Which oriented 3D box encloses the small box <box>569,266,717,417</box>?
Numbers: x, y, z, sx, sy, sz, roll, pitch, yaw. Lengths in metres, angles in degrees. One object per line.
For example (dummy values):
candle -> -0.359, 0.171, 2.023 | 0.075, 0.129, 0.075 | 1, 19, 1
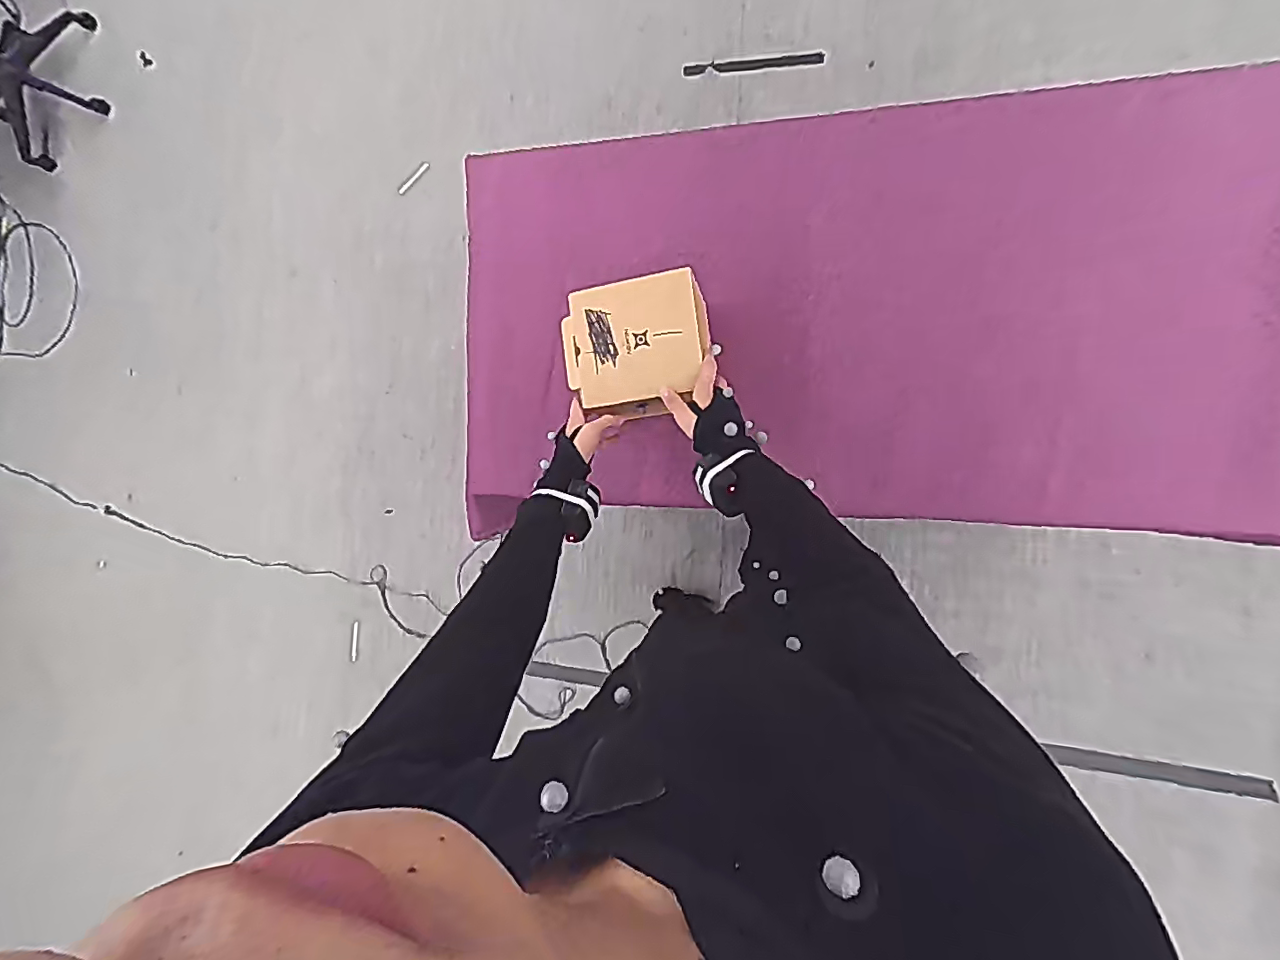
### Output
small box -> 0.012, -0.192, 0.807 | 0.179, 0.176, 0.168 | -8, 89, 13
